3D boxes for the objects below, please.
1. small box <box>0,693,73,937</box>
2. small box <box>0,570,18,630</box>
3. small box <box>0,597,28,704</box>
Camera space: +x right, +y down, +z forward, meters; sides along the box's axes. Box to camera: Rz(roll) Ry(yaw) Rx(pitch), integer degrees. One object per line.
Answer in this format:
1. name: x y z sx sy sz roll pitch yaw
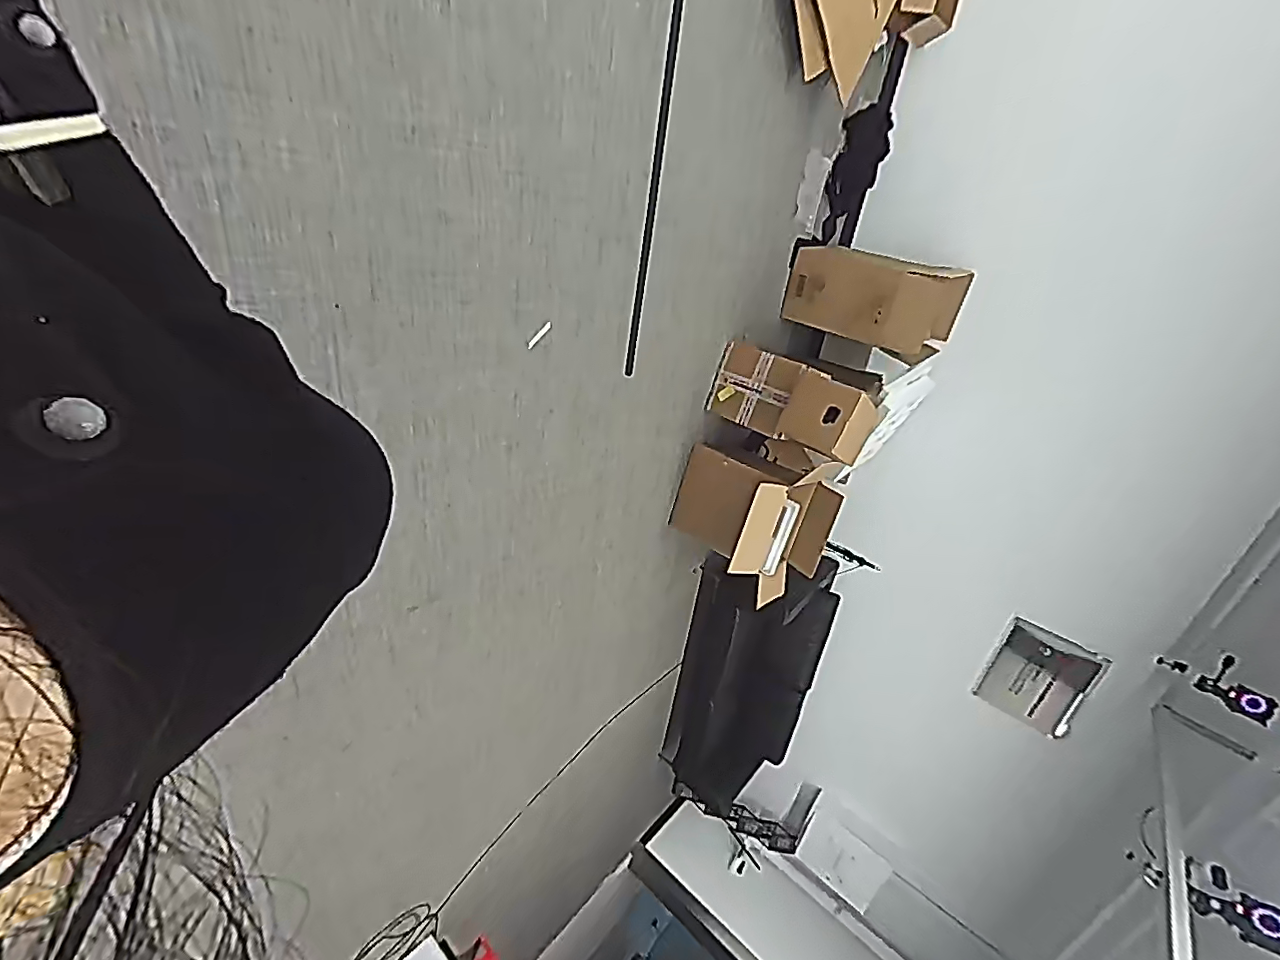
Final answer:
1. small box: -0.654 0.318 0.478 0.168 0.176 0.179 -20 127 -47
2. small box: -1.027 0.145 0.747 0.179 0.176 0.168 -22 128 -44
3. small box: -0.901 0.199 0.659 0.168 0.176 0.179 -22 128 -46
